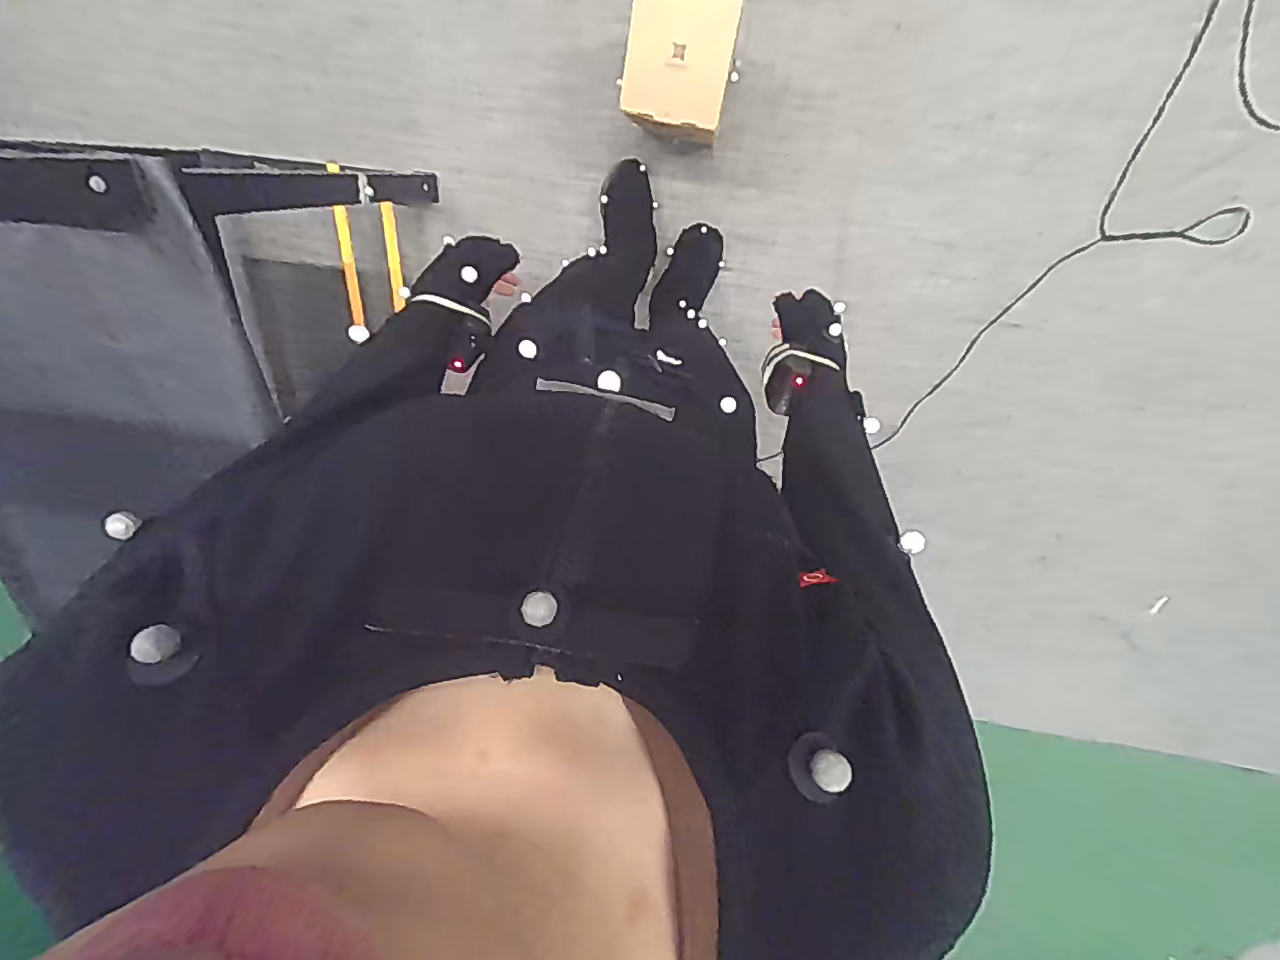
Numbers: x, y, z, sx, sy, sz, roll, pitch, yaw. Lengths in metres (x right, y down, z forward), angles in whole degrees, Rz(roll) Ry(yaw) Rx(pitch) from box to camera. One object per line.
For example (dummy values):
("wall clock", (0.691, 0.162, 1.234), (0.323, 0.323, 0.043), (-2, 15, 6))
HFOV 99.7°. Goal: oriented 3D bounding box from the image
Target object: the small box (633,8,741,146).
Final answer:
("small box", (0.091, -0.777, 1.061), (0.168, 0.176, 0.179), (14, 120, 1))
